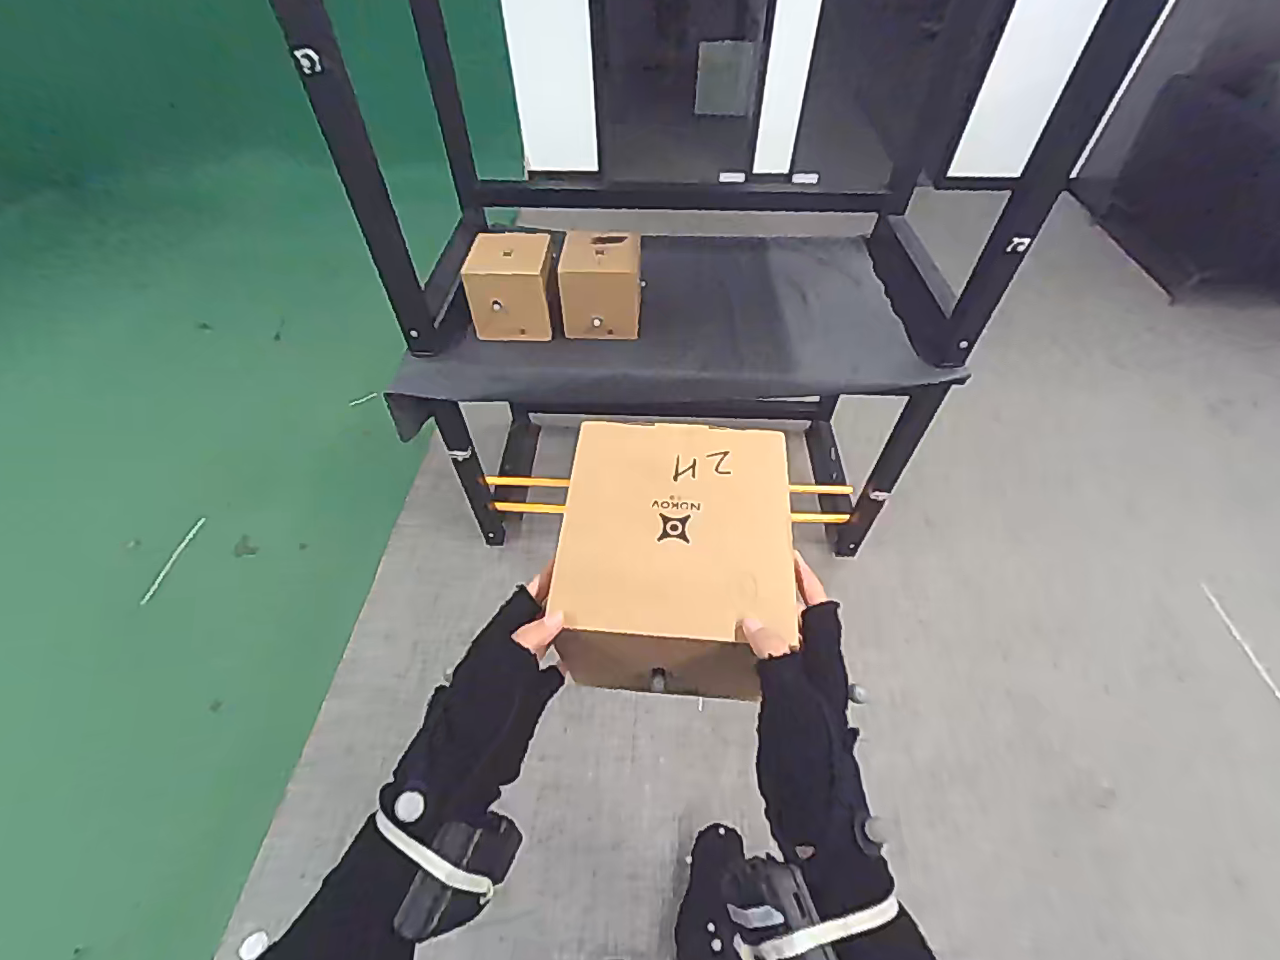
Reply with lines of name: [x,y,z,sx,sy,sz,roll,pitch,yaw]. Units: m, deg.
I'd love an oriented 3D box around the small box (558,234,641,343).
small box: [-0.083,-0.430,1.216,0.168,0.176,0.179,1,50,2]

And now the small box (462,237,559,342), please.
small box: [-0.280,-0.424,1.212,0.168,0.176,0.179,1,49,1]
